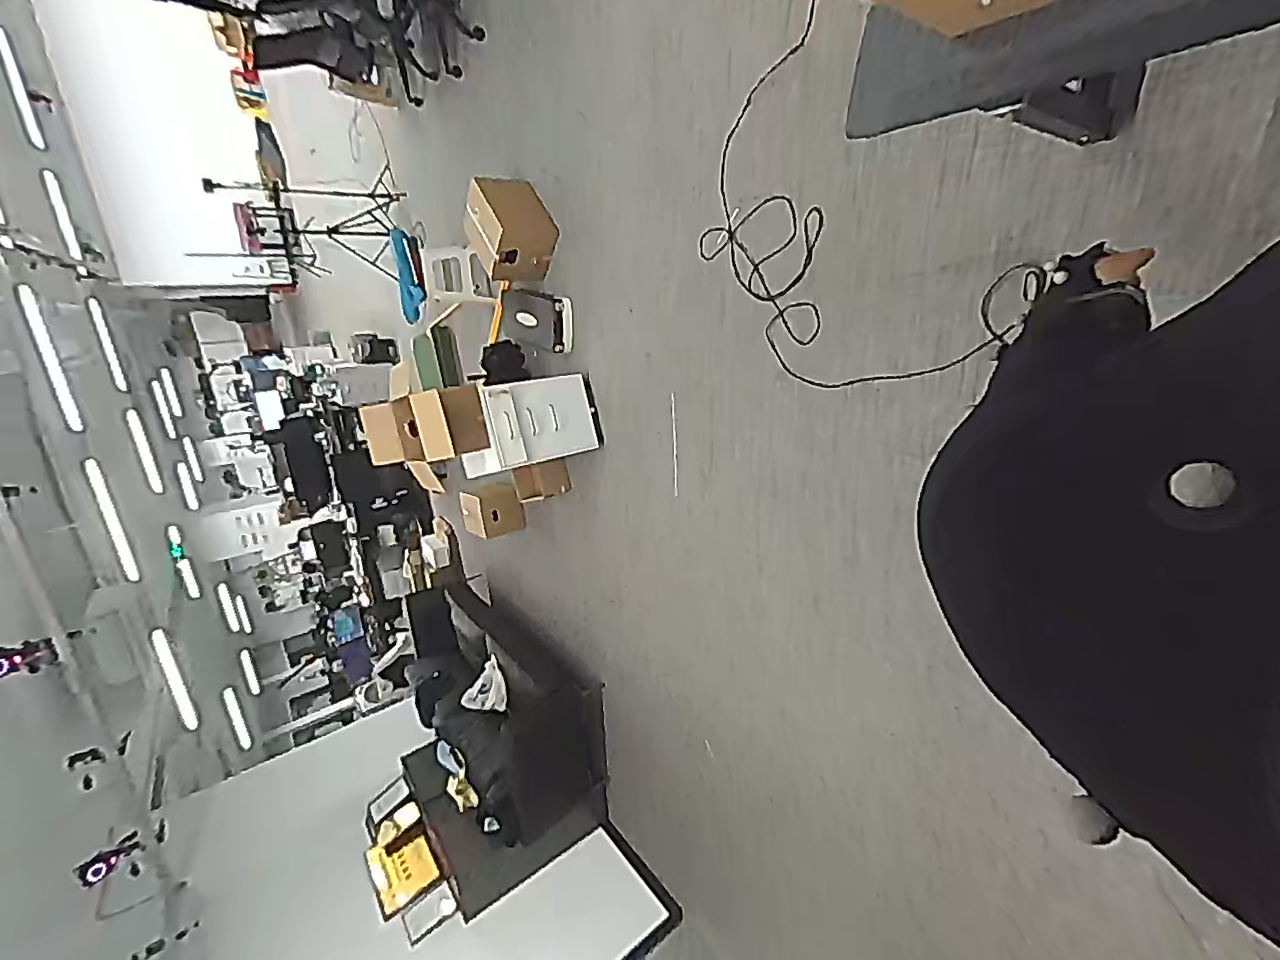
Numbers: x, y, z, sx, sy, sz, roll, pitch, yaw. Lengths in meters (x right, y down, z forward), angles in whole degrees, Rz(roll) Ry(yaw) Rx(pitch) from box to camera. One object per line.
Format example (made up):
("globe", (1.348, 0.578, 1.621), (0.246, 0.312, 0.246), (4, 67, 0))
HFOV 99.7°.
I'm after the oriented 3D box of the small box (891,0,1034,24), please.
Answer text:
("small box", (0.361, -0.578, 0.514), (0.179, 0.176, 0.168), (23, 122, 49))
